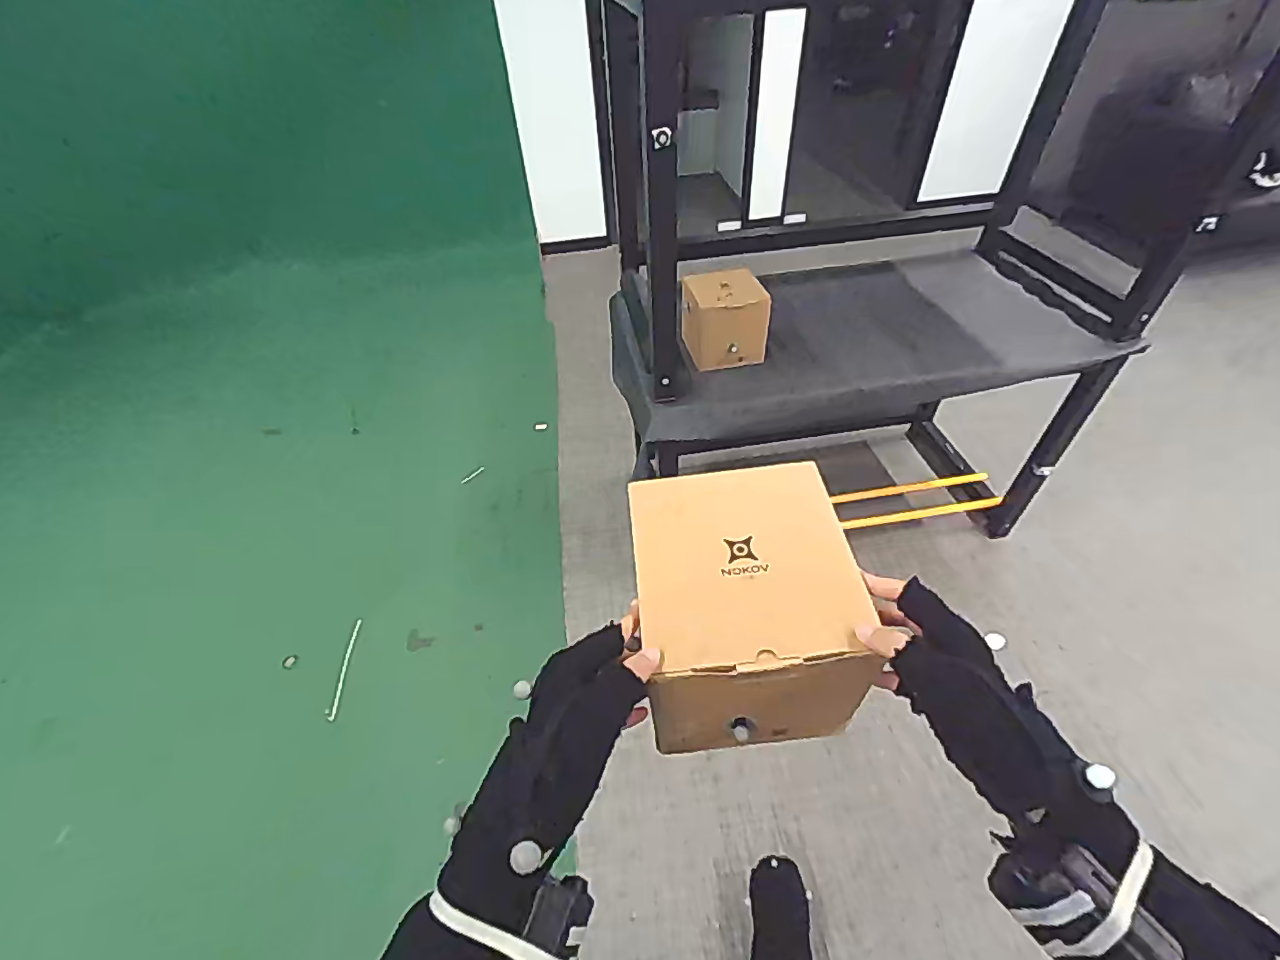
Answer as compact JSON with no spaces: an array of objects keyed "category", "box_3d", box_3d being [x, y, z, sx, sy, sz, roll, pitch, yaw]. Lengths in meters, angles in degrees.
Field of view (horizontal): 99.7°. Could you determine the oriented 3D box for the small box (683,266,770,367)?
[{"category":"small box","box_3d":[0.200,-0.397,1.314,0.168,0.176,0.179,-10,45,-5]}]
